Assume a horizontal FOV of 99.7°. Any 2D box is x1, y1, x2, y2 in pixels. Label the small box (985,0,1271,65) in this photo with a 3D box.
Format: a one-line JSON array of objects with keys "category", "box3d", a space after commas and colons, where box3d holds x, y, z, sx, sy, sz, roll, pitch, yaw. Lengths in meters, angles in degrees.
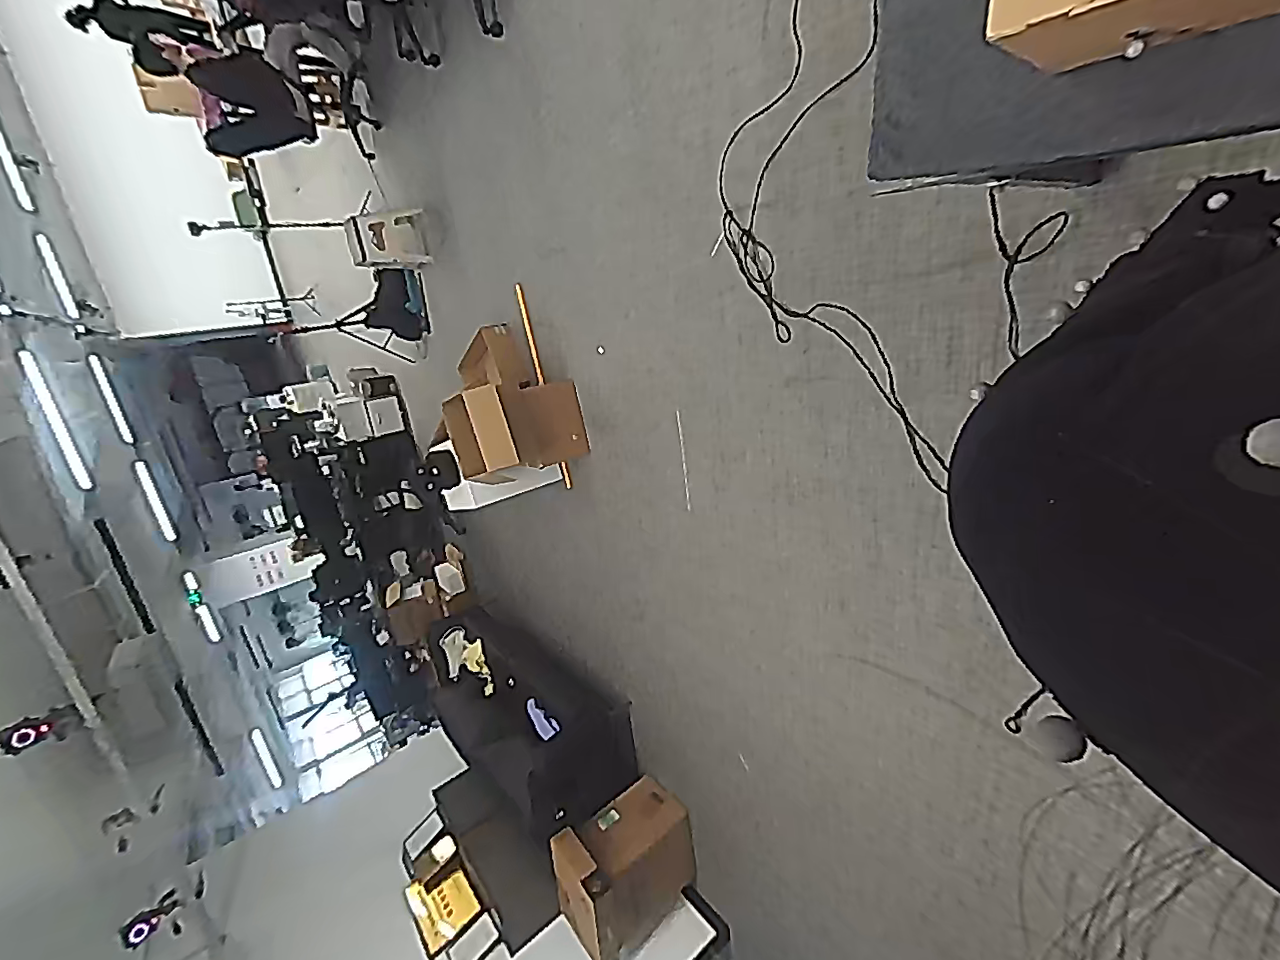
[{"category": "small box", "box3d": [0.409, -0.470, 0.429, 0.168, 0.176, 0.179, 21, 122, 48]}]
